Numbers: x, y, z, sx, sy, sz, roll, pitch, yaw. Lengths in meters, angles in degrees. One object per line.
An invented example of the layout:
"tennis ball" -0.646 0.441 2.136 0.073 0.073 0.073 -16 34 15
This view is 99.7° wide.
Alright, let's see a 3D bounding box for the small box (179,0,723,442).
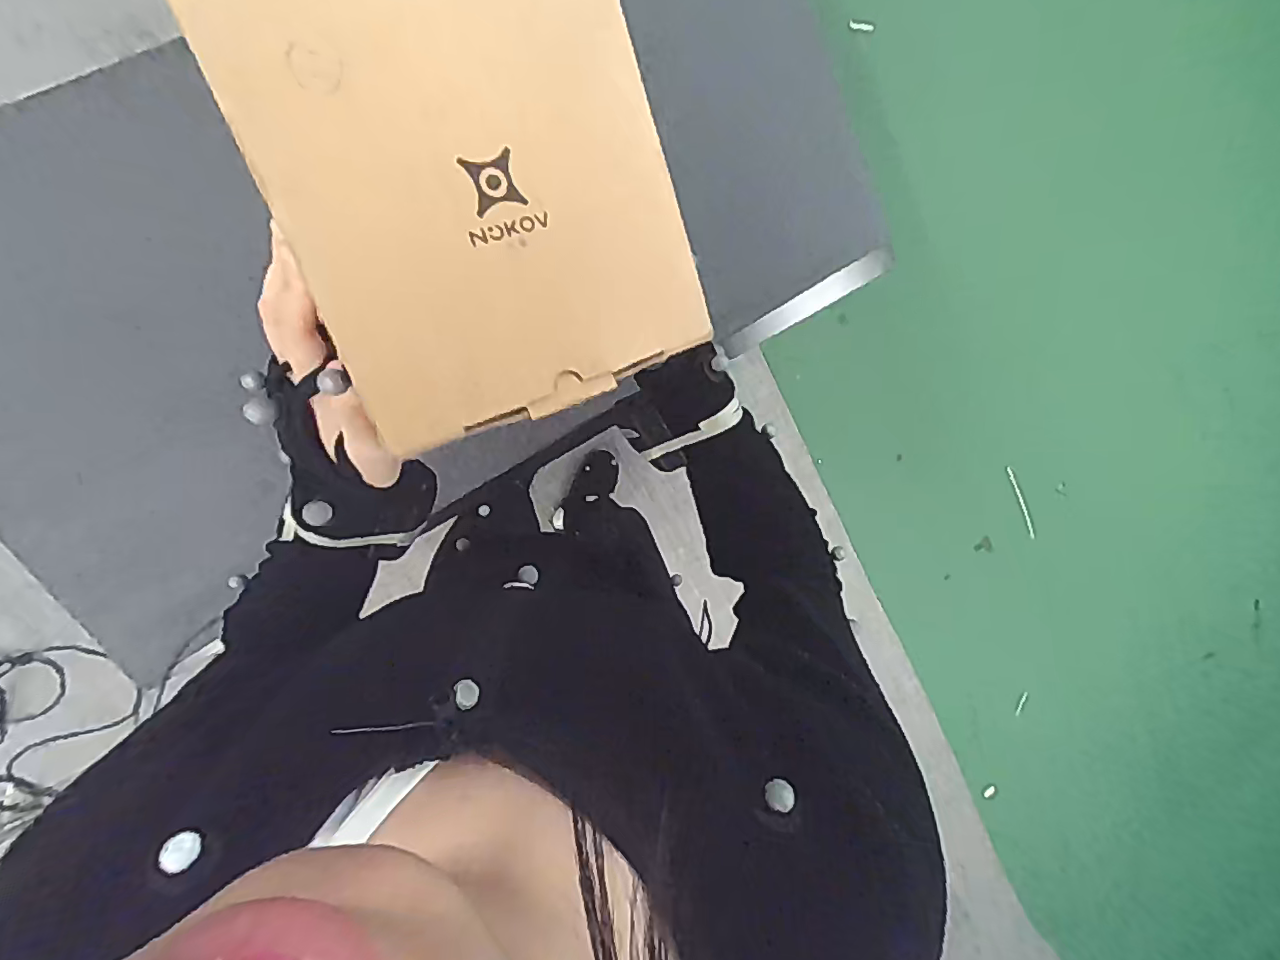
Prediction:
"small box" -0.088 -0.132 0.282 0.168 0.176 0.179 -25 108 -20
